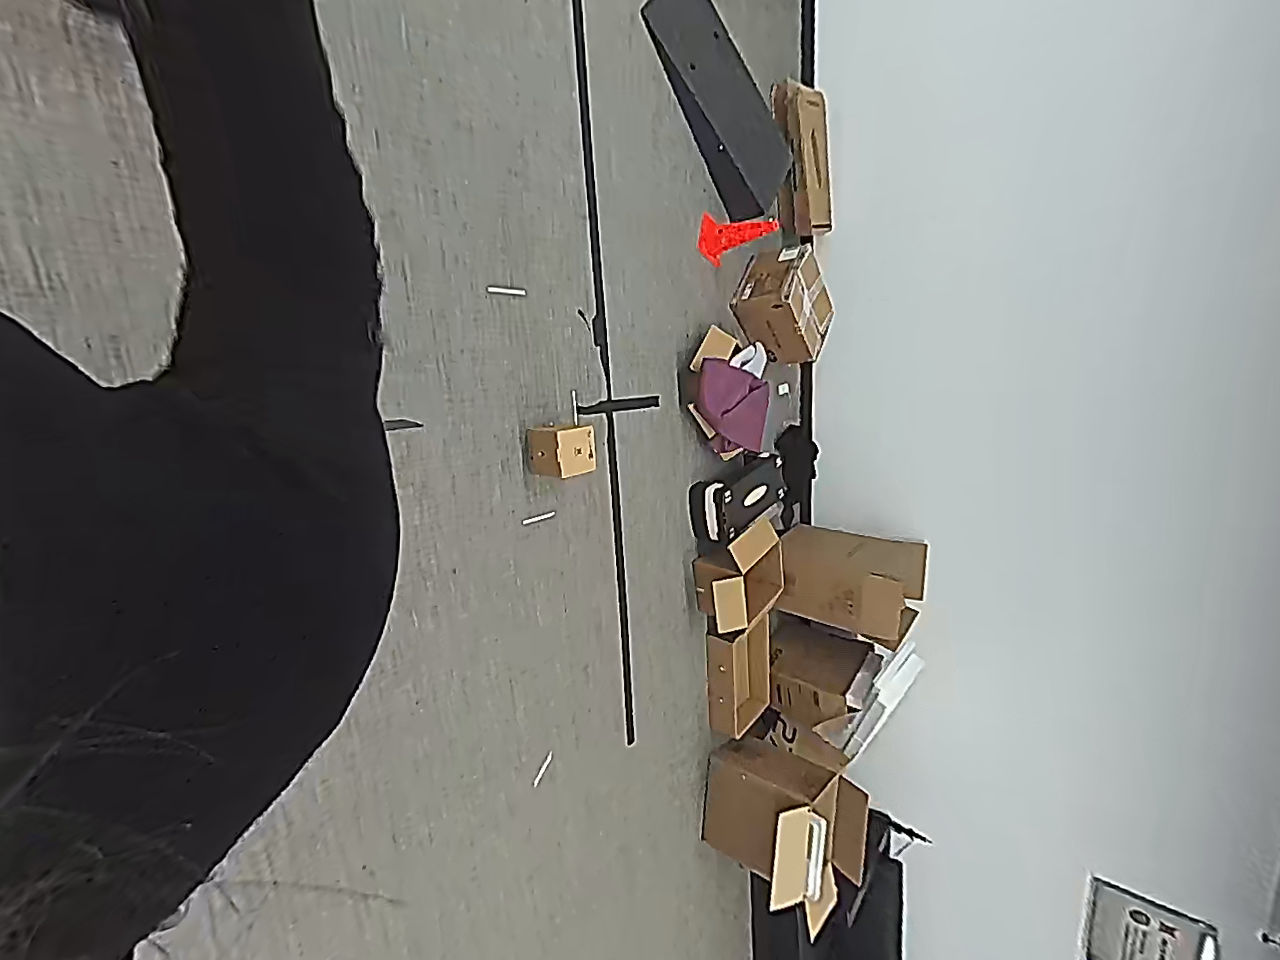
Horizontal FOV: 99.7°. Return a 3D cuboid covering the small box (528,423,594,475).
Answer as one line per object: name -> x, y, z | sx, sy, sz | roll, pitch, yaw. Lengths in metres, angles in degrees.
small box -> -0.288, -0.116, 1.940 | 0.179, 0.176, 0.168 | -16, 108, -47
